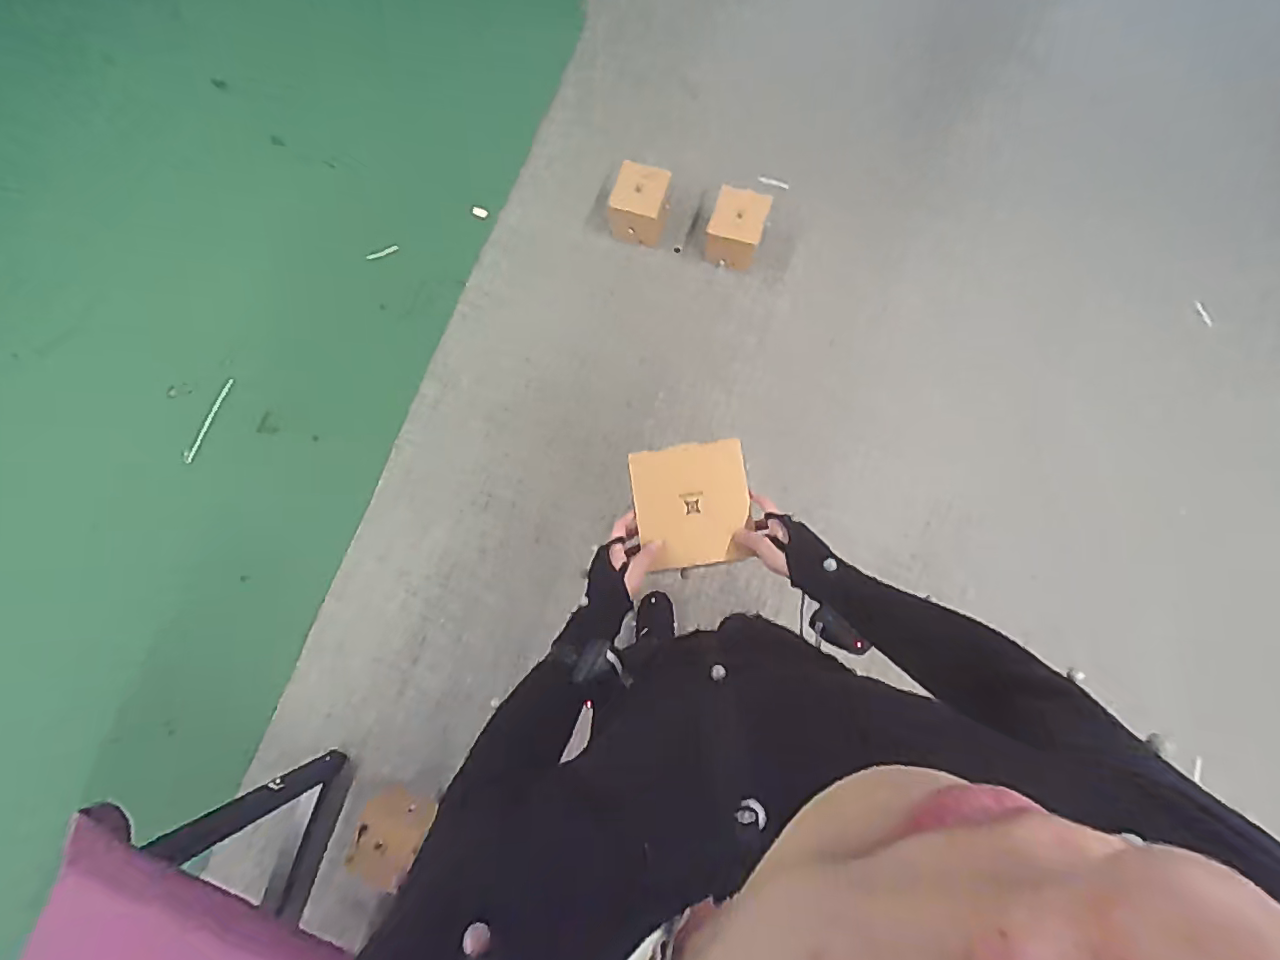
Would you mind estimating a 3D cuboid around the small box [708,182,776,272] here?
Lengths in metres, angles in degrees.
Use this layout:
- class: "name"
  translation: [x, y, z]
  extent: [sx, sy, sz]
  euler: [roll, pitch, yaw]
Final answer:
- class: "small box"
  translation: [0.322, -0.811, 1.743]
  extent: [0.168, 0.176, 0.179]
  euler: [18, 82, 8]

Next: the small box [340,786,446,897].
- class: "small box"
  translation: [-0.663, 0.973, 1.475]
  extent: [0.179, 0.176, 0.168]
  euler: [21, 81, 7]

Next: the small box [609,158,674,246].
- class: "small box"
  translation: [0.011, -0.909, 1.783]
  extent: [0.168, 0.176, 0.179]
  euler: [18, 81, 7]

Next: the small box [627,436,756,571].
- class: "small box"
  translation: [0.075, 0.046, 0.831]
  extent: [0.168, 0.176, 0.179]
  euler: [-7, 78, 1]
